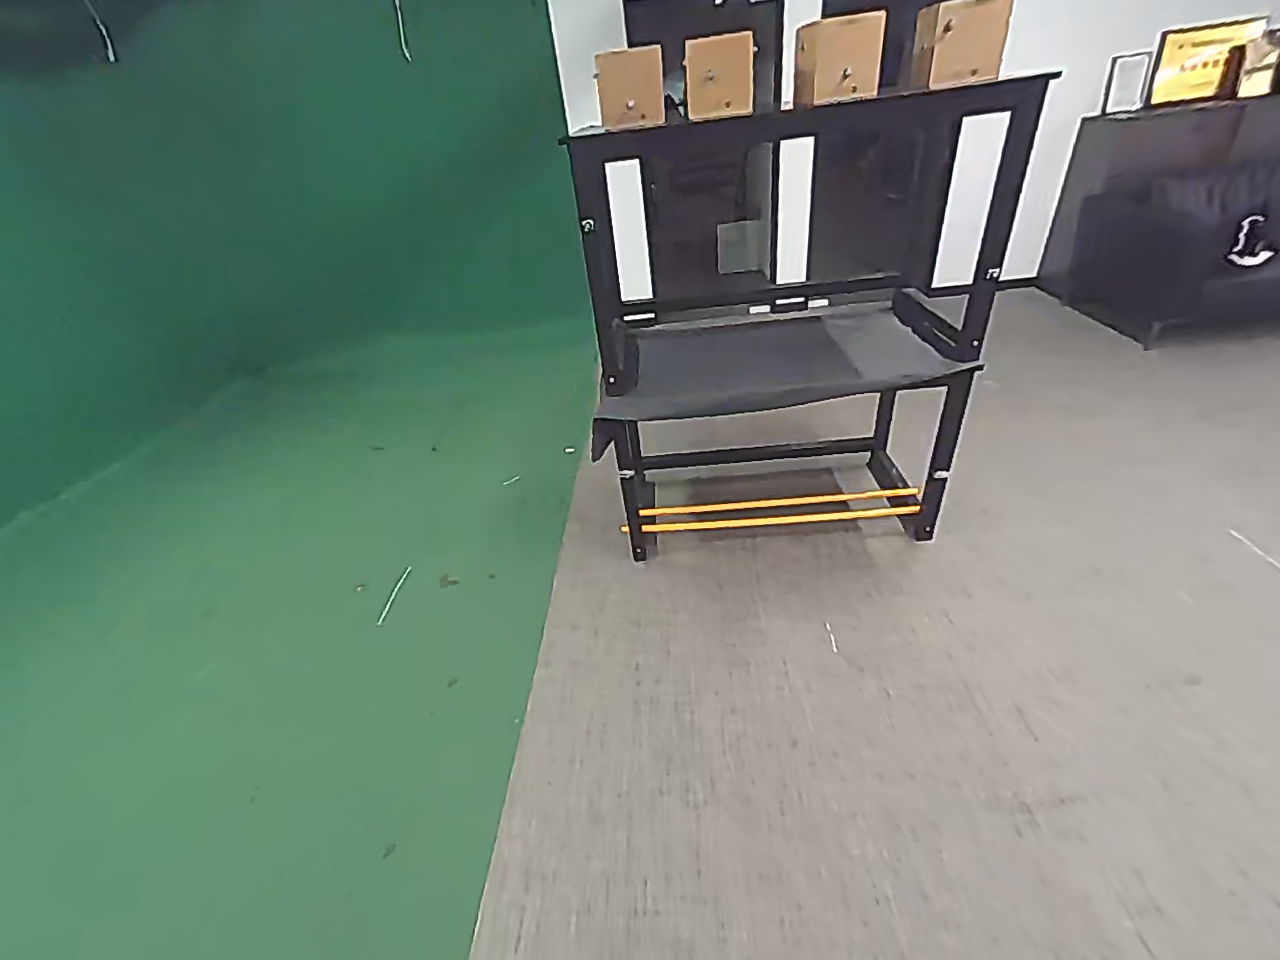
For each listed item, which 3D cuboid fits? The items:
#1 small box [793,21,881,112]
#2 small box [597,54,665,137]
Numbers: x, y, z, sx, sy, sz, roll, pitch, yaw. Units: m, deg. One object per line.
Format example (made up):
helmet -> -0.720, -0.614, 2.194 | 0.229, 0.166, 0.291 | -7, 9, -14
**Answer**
small box -> 0.506, -1.076, 1.419 | 0.168, 0.176, 0.179 | -8, 34, 1
small box -> -0.027, -1.050, 1.487 | 0.168, 0.176, 0.179 | -8, 35, -1
